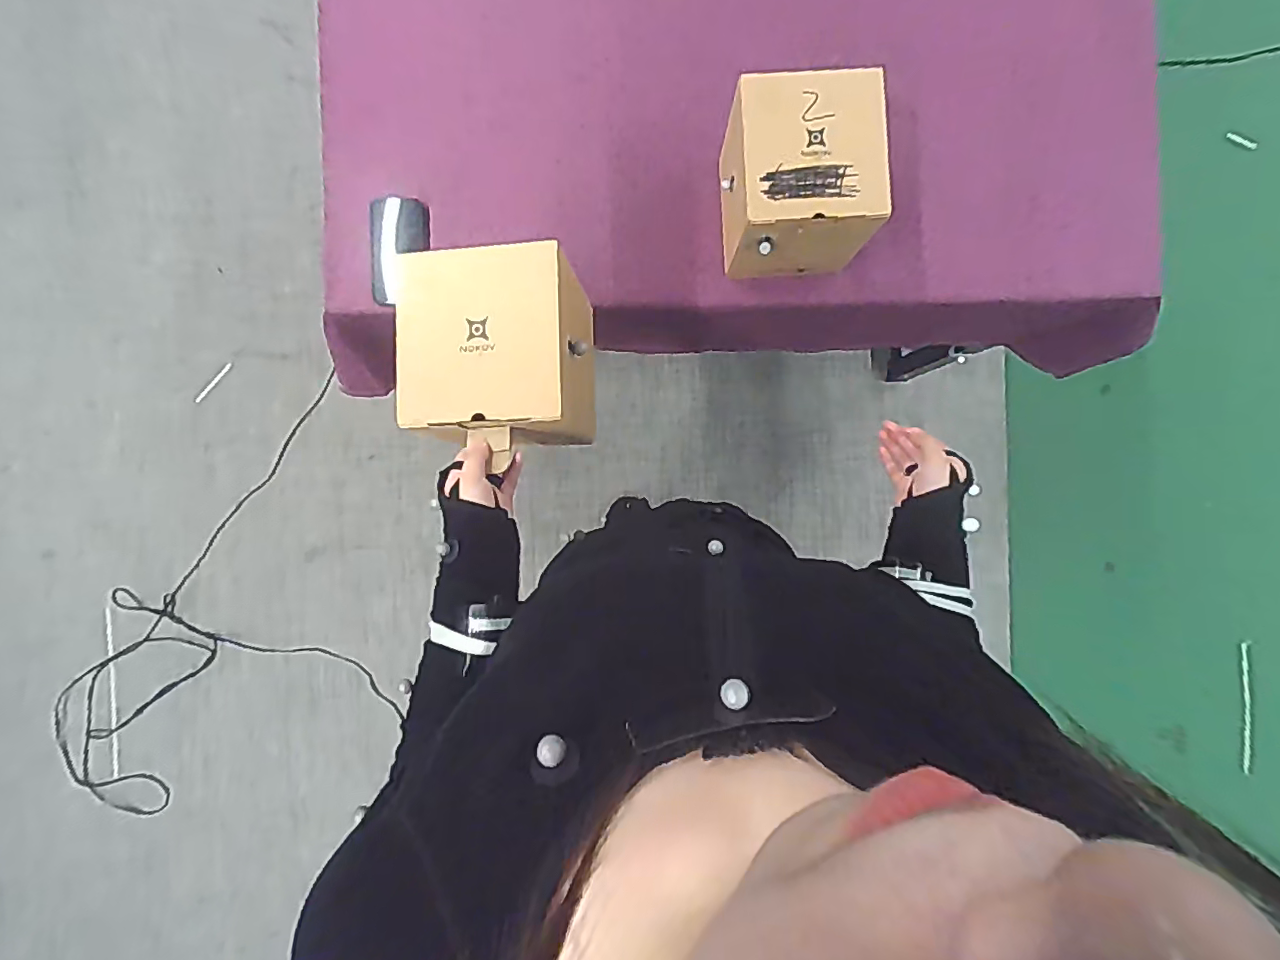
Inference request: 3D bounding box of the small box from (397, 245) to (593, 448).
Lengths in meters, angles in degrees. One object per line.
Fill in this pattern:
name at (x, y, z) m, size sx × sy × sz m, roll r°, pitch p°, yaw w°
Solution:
small box at (-0.147, -0.133, 0.598) m, size 0.168 × 0.176 × 0.179 m, roll -2°, pitch 87°, yaw 5°
